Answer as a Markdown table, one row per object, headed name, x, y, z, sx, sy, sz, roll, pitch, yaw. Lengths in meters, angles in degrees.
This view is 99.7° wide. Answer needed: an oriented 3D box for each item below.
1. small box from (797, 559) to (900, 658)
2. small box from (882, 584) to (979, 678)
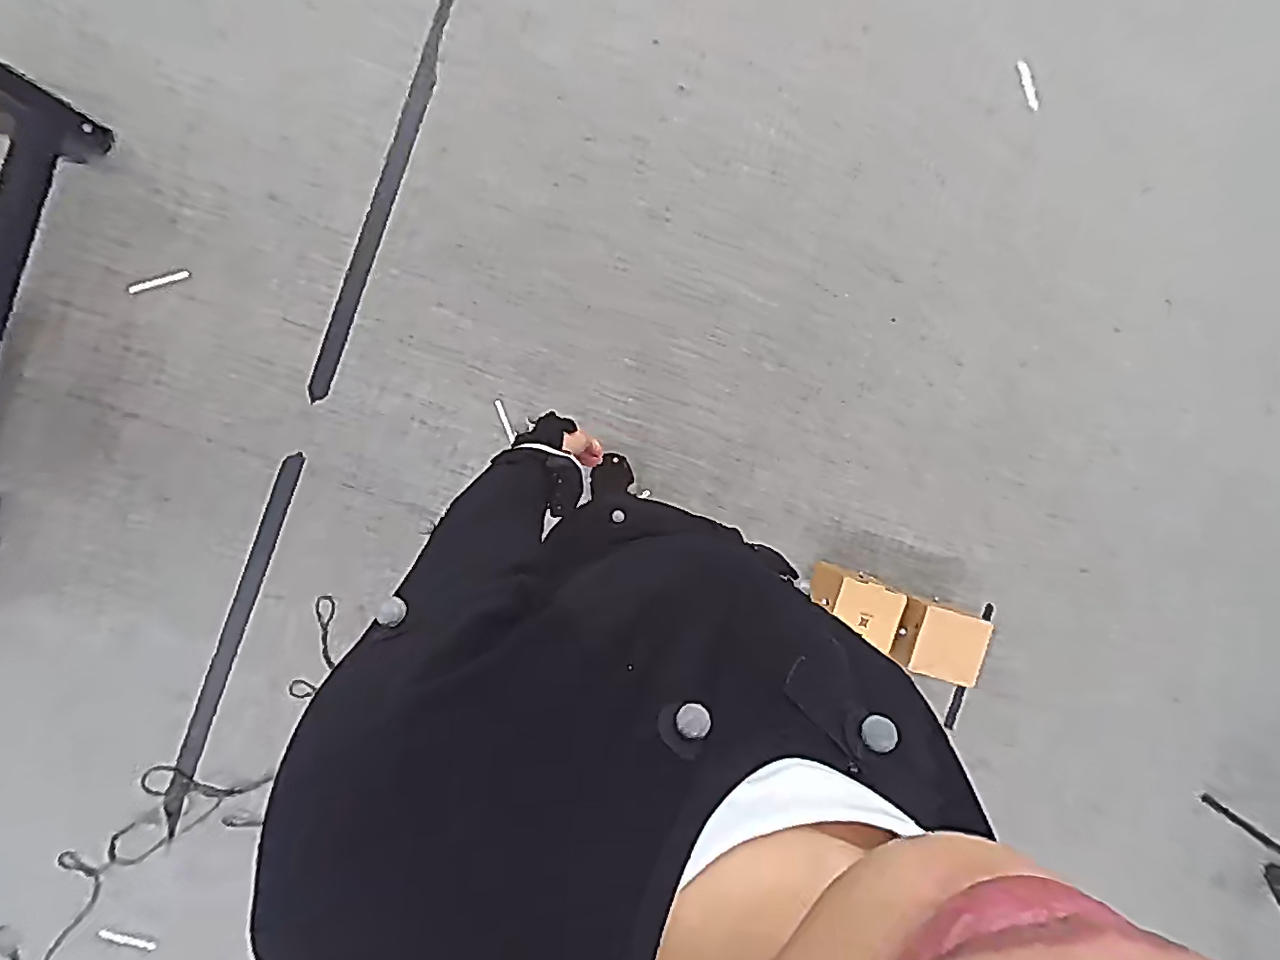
| name | x | y | z | sx | sy | sz | roll | pitch | yaw |
| --- | --- | --- | --- | --- | --- | --- | --- | --- | --- |
| small box | 0.518 | 0.319 | 1.373 | 0.168 | 0.176 | 0.179 | 18 | 92 | -5 |
| small box | 0.731 | 0.386 | 1.389 | 0.179 | 0.176 | 0.168 | 17 | 92 | -6 |
